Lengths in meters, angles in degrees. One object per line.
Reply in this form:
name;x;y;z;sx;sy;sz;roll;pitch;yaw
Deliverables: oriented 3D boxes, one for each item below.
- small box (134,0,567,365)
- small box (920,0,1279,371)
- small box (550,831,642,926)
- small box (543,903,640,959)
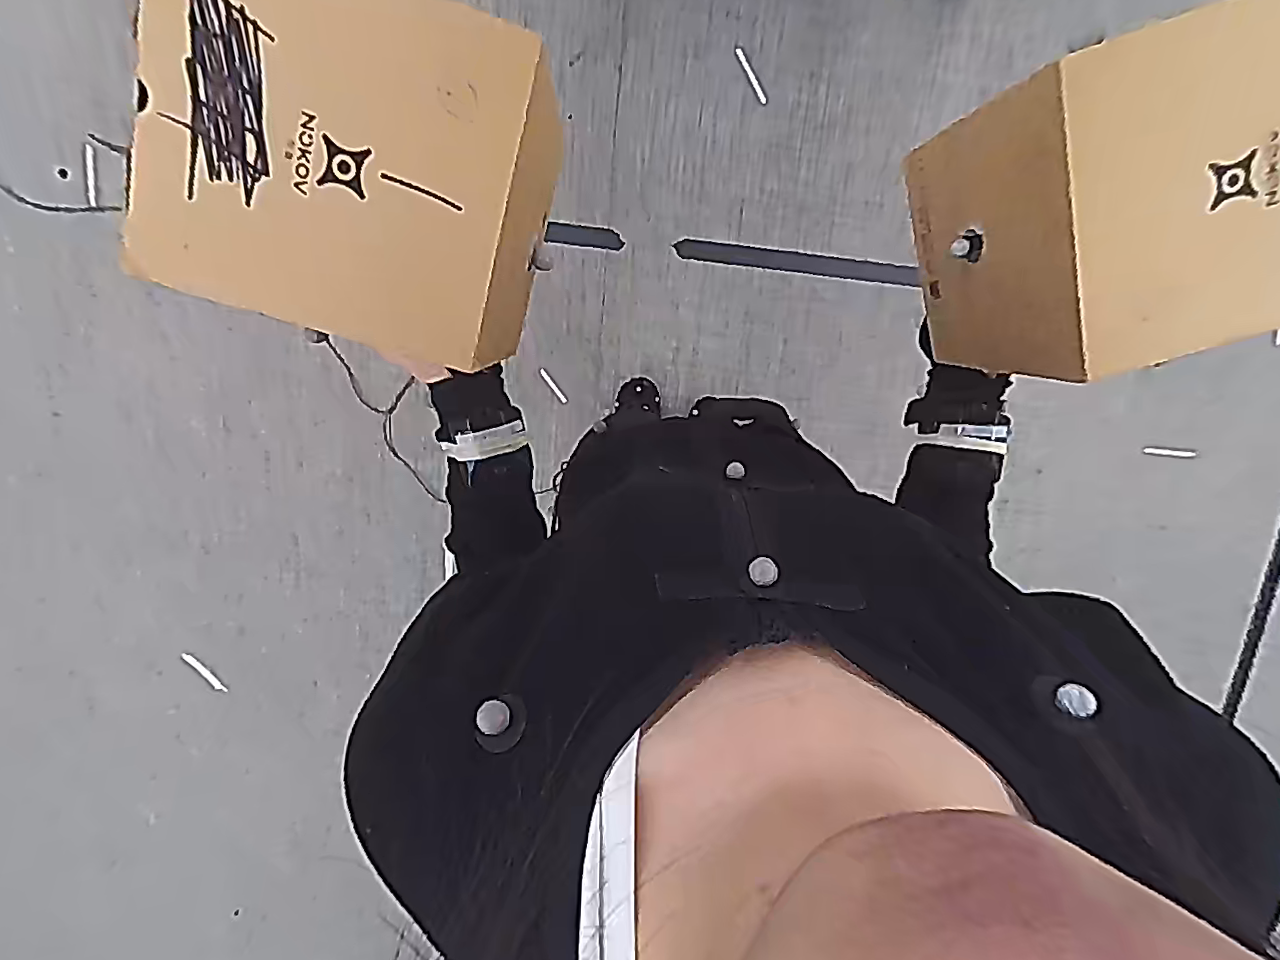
small box;-0.152;-0.180;0.339;0.179;0.176;0.168;15;105;-9
small box;0.308;-0.179;0.353;0.179;0.176;0.168;-16;106;5
small box;-0.094;0.860;1.106;0.168;0.176;0.179;10;100;-3
small box;-0.091;0.888;0.945;0.168;0.176;0.179;7;101;-4
